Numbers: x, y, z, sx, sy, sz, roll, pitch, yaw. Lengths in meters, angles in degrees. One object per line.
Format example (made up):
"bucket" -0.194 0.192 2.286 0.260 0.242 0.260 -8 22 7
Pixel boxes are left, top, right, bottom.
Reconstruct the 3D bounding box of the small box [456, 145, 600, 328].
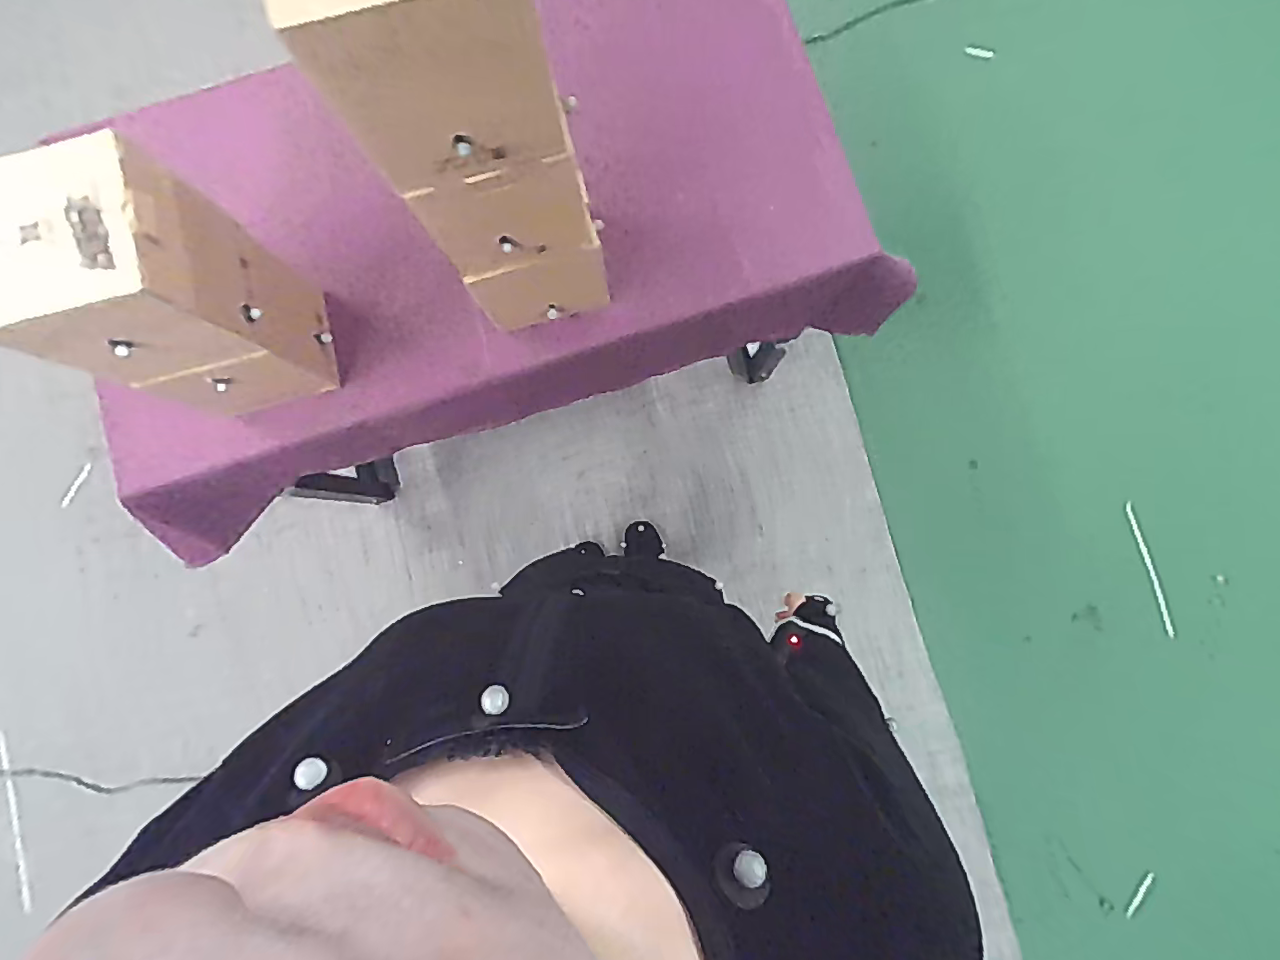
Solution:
"small box" -0.157 -0.334 0.751 0.179 0.176 0.168 -16 84 -1

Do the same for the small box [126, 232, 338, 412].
"small box" -0.558 -0.203 0.744 0.179 0.176 0.168 -15 85 -1

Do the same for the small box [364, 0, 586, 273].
"small box" -0.164 -0.359 0.590 0.168 0.176 0.179 -15 86 0

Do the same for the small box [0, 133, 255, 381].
"small box" -0.556 -0.221 0.581 0.179 0.176 0.168 -15 85 0
